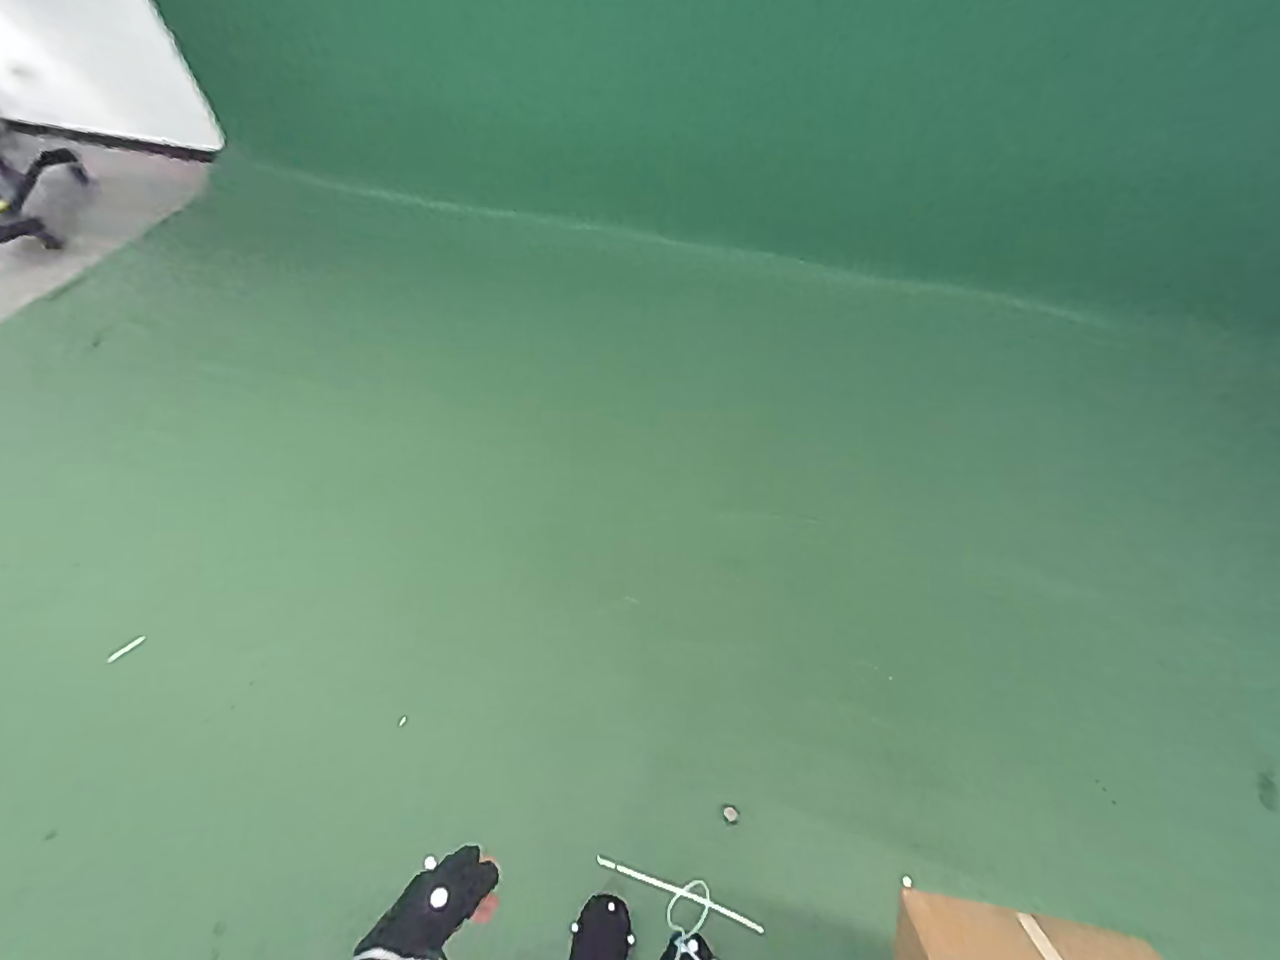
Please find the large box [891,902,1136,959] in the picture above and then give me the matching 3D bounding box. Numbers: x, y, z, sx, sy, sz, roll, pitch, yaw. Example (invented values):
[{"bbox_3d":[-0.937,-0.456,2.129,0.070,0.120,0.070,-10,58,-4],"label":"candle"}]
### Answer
[{"bbox_3d":[0.469,0.764,0.554,0.320,0.408,0.320,8,89,10],"label":"large box"}]
